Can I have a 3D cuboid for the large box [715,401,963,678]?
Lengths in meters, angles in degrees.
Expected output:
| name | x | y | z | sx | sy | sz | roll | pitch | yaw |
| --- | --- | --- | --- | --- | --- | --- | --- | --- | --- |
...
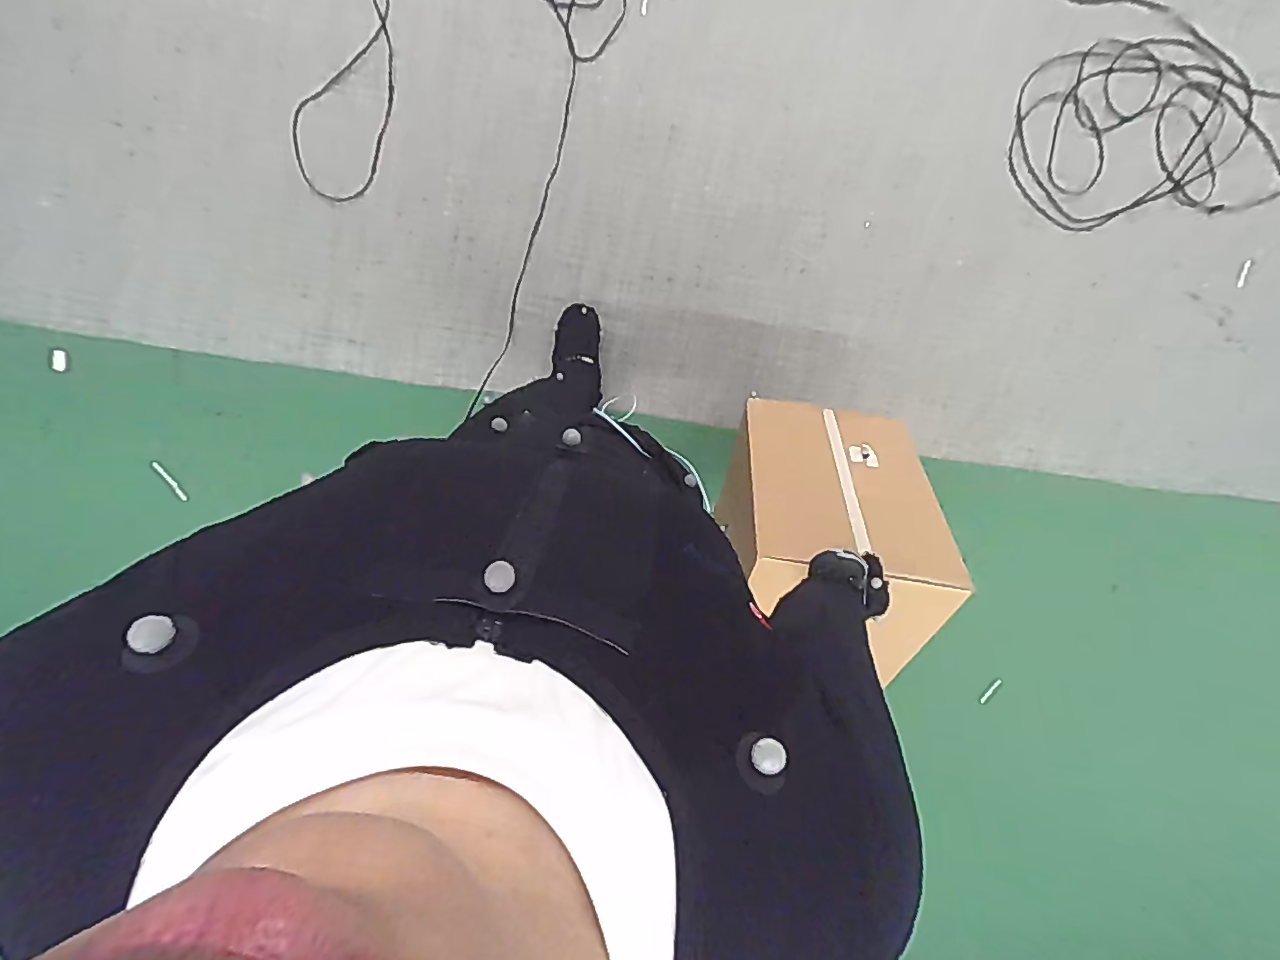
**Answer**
| name | x | y | z | sx | sy | sz | roll | pitch | yaw |
| --- | --- | --- | --- | --- | --- | --- | --- | --- | --- |
| large box | 0.322 | 0.106 | 1.025 | 0.320 | 0.408 | 0.320 | 10 | 132 | -1 |
